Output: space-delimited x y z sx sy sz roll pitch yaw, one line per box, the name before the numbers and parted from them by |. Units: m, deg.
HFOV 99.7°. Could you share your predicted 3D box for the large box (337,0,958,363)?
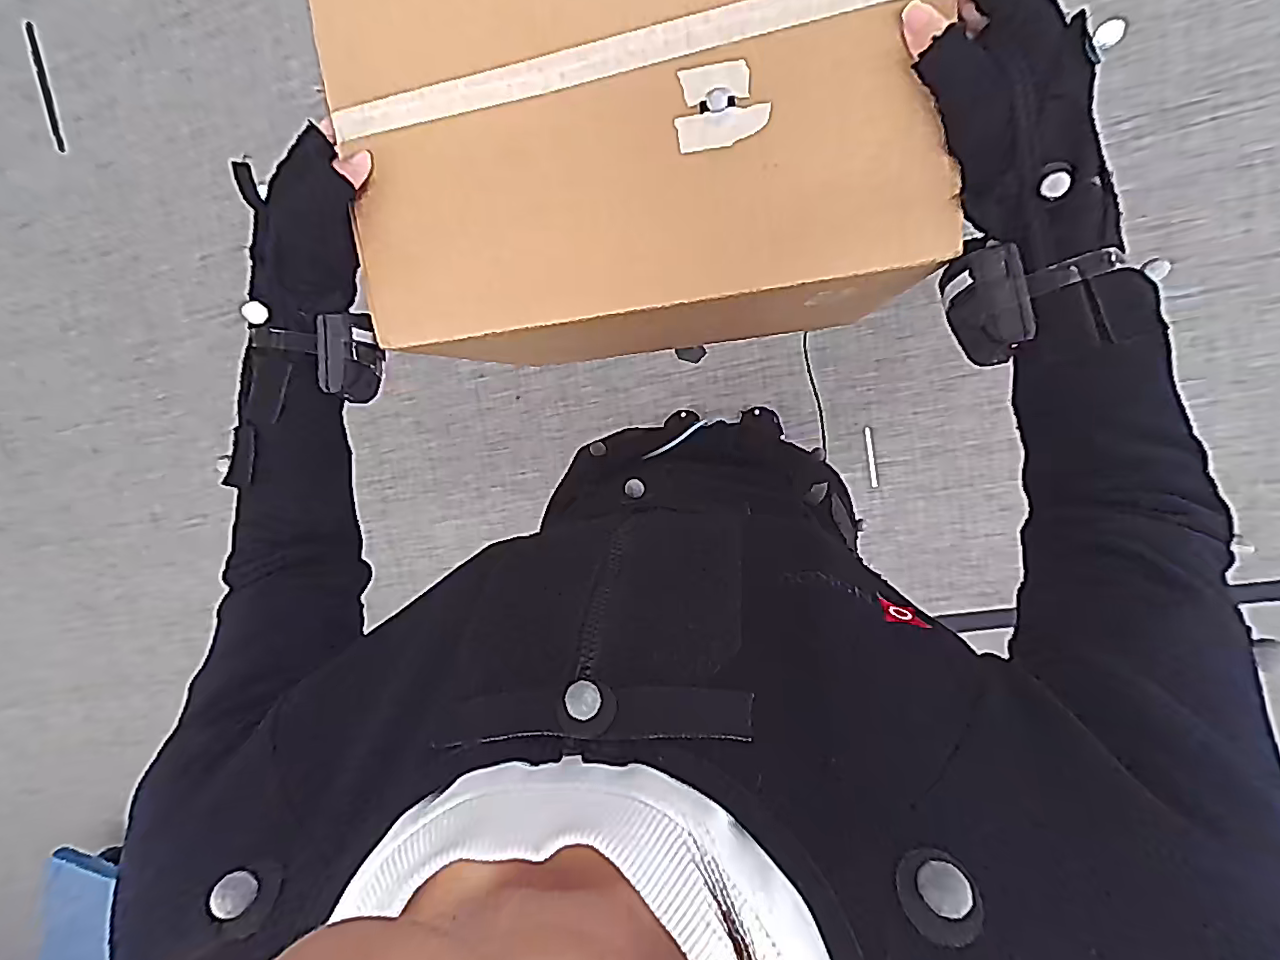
large box | 0.012 -0.301 0.505 0.408 0.320 0.320 -6 99 11
